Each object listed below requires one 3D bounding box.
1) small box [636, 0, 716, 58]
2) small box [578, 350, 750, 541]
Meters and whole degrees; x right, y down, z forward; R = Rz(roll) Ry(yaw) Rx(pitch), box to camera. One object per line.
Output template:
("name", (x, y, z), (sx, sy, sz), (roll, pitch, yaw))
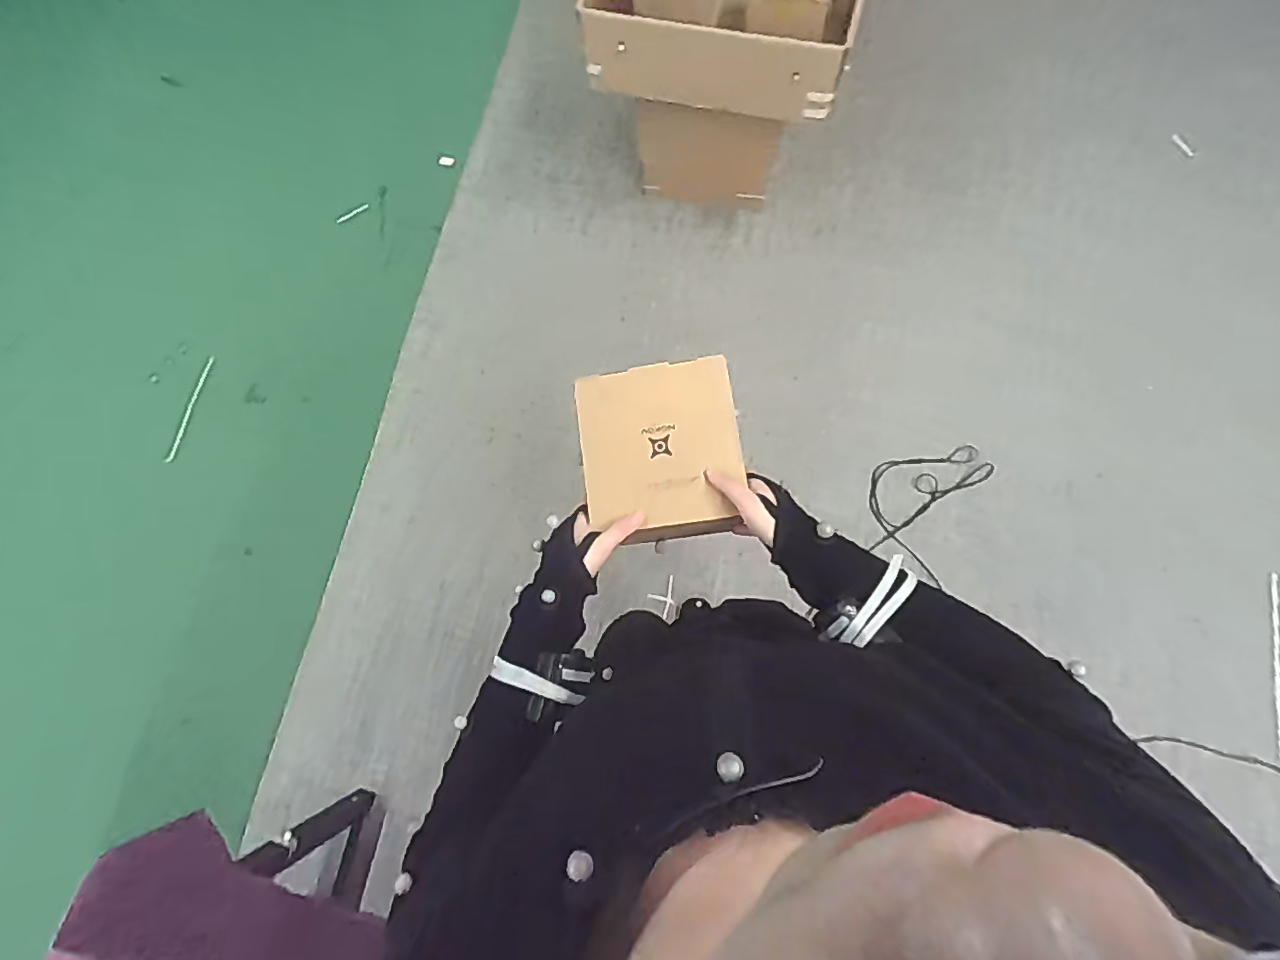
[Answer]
("small box", (0.087, -1.151, 1.273), (0.168, 0.176, 0.179), (13, 79, 8))
("small box", (0.028, -0.029, 0.636), (0.168, 0.176, 0.179), (-8, 79, 5))
